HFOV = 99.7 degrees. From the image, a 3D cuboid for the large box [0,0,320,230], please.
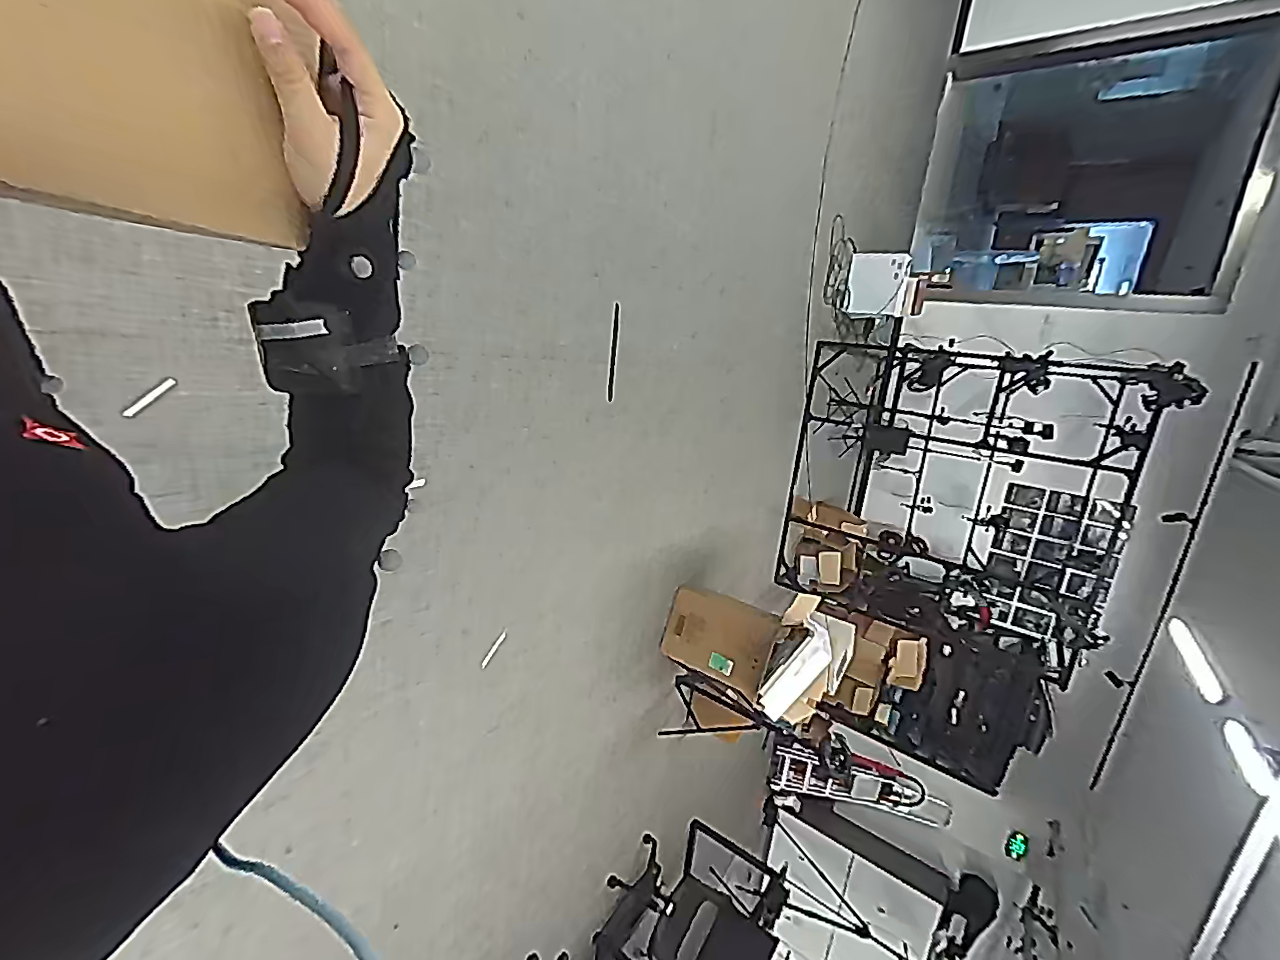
[{"bbox_3d":[-0.405,-0.314,0.201,0.408,0.320,0.320,-14,120,-59],"label":"large box"}]
